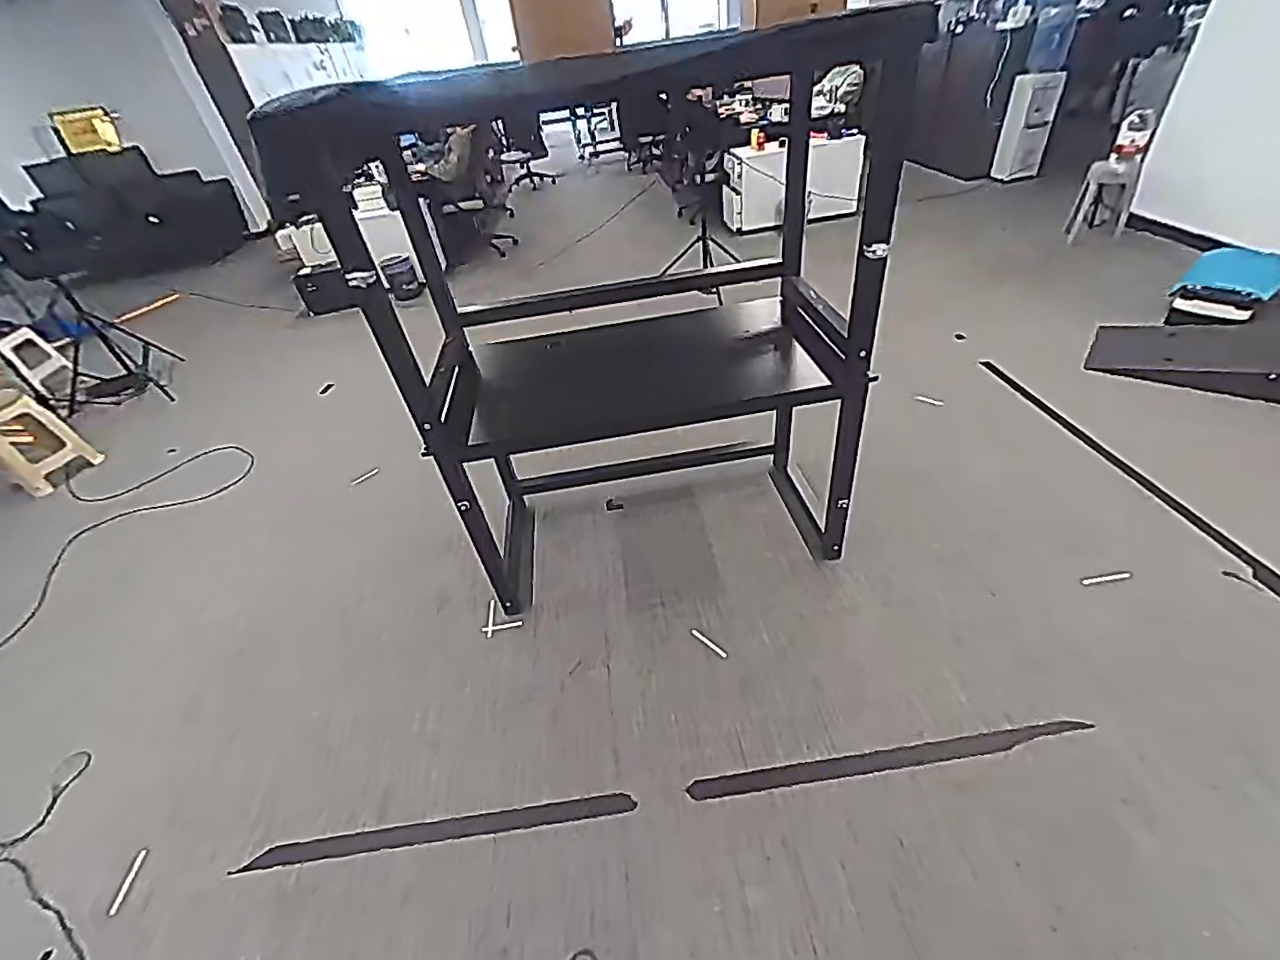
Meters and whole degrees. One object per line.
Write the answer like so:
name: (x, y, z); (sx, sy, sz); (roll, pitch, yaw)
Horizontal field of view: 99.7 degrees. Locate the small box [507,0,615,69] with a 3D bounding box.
small box: (-0.151, -0.867, 0.990); (0.179, 0.176, 0.168); (-11, 38, -4)
